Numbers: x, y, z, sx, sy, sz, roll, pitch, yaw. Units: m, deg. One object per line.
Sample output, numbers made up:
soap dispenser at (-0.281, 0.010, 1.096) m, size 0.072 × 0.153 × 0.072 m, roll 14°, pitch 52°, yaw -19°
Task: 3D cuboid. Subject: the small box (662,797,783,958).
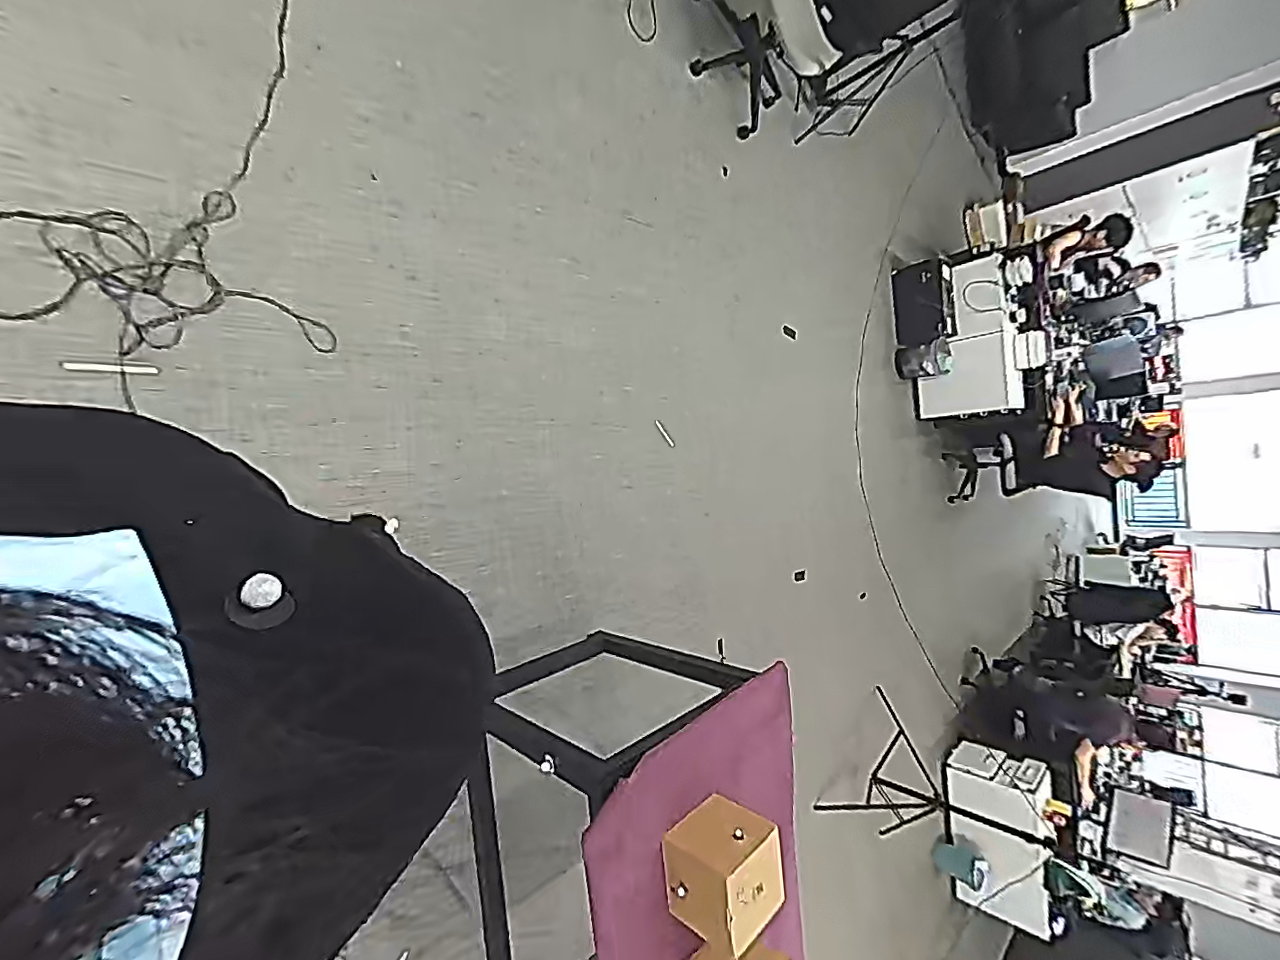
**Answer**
small box at (0.168, 0.789, 1.101) m, size 0.179 × 0.176 × 0.168 m, roll -10°, pitch 96°, yaw -43°
